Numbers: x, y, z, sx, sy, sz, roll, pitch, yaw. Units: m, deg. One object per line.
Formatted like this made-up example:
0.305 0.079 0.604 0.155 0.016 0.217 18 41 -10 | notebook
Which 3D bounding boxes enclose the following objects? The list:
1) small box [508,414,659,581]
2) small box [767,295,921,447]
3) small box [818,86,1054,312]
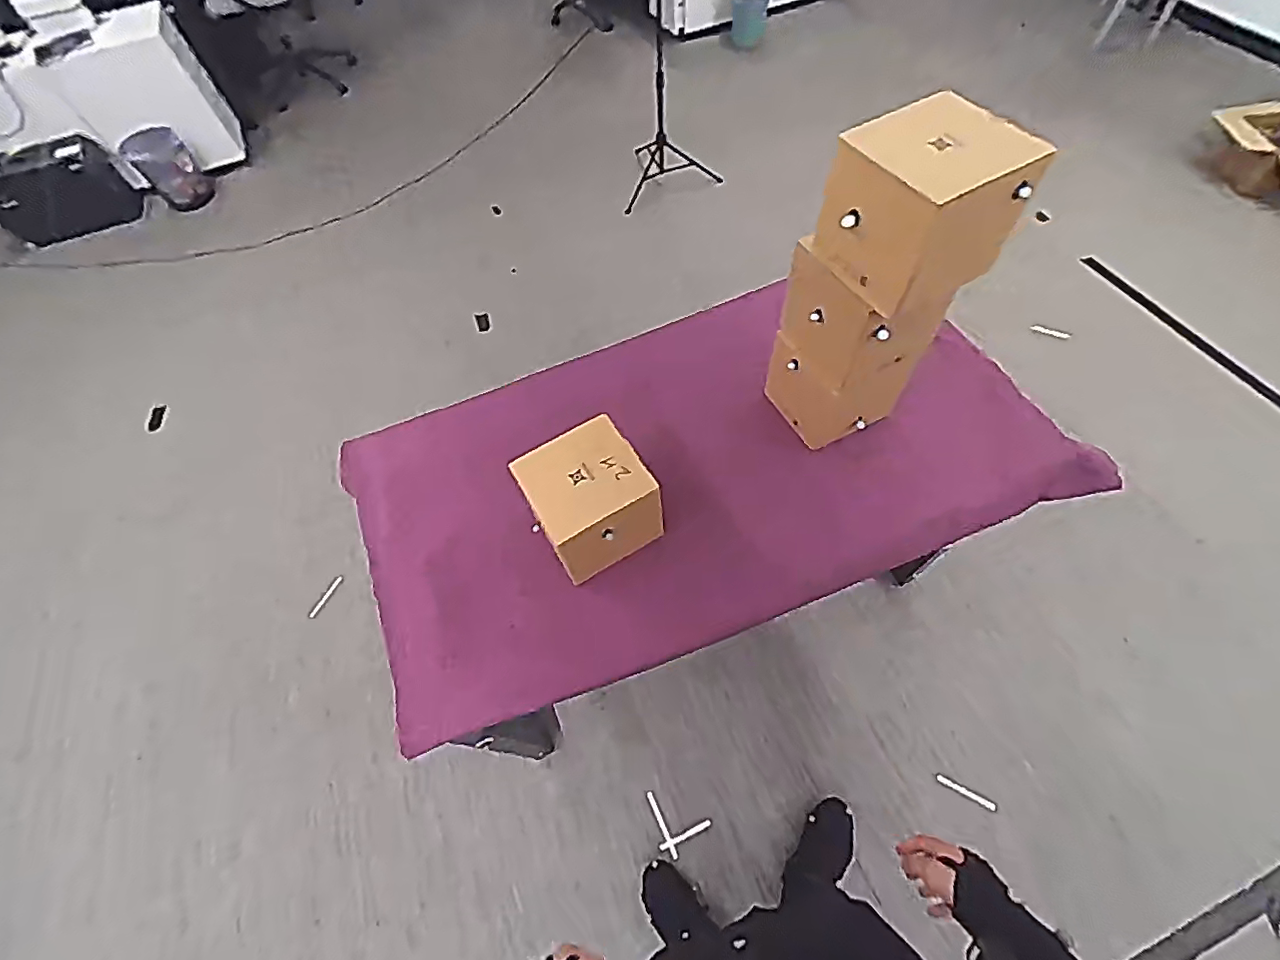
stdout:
-0.082 0.034 0.868 0.179 0.176 0.168 -29 62 -13 | small box
0.349 -0.190 0.967 0.179 0.176 0.168 -25 61 -10 | small box
0.345 -0.344 0.676 0.179 0.176 0.168 -28 62 -12 | small box
